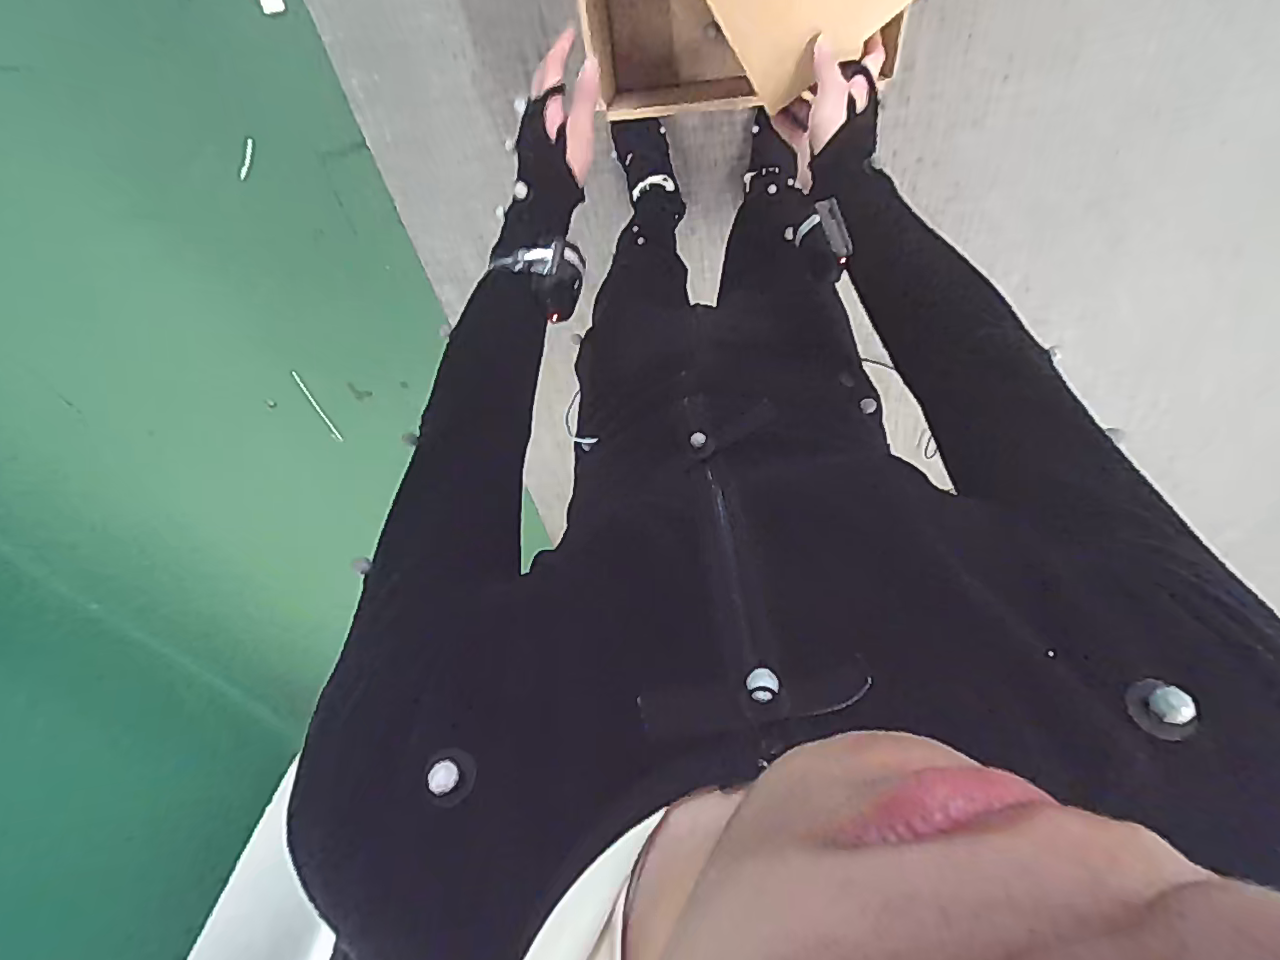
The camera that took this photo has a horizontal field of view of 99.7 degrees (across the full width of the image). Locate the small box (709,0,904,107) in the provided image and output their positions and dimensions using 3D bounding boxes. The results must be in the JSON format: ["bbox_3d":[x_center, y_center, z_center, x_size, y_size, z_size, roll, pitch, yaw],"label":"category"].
[{"bbox_3d":[0.152,-0.519,0.526,0.168,0.176,0.179,-27,124,32],"label":"small box"}]
